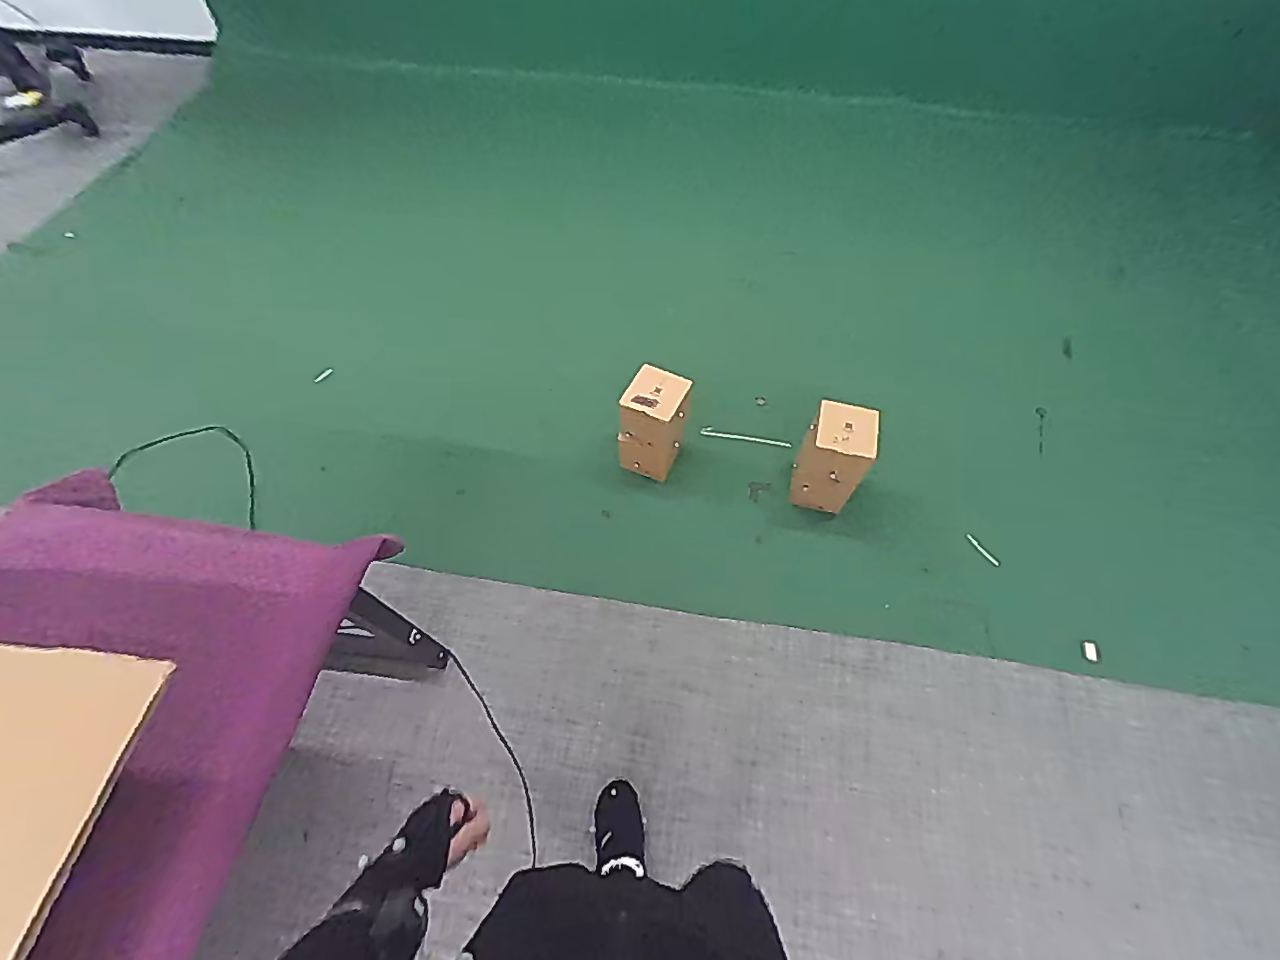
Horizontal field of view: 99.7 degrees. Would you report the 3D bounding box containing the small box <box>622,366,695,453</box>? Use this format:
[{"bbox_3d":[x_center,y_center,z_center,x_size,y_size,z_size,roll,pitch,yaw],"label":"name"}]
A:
[{"bbox_3d":[0.058,-0.212,1.668,0.168,0.176,0.179,24,62,13],"label":"small box"}]

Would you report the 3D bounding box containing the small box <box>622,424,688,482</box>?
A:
[{"bbox_3d":[0.049,-0.124,1.806,0.168,0.176,0.179,21,63,13],"label":"small box"}]

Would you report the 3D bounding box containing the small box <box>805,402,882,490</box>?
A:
[{"bbox_3d":[0.596,-0.099,1.591,0.168,0.176,0.179,14,60,9],"label":"small box"}]
